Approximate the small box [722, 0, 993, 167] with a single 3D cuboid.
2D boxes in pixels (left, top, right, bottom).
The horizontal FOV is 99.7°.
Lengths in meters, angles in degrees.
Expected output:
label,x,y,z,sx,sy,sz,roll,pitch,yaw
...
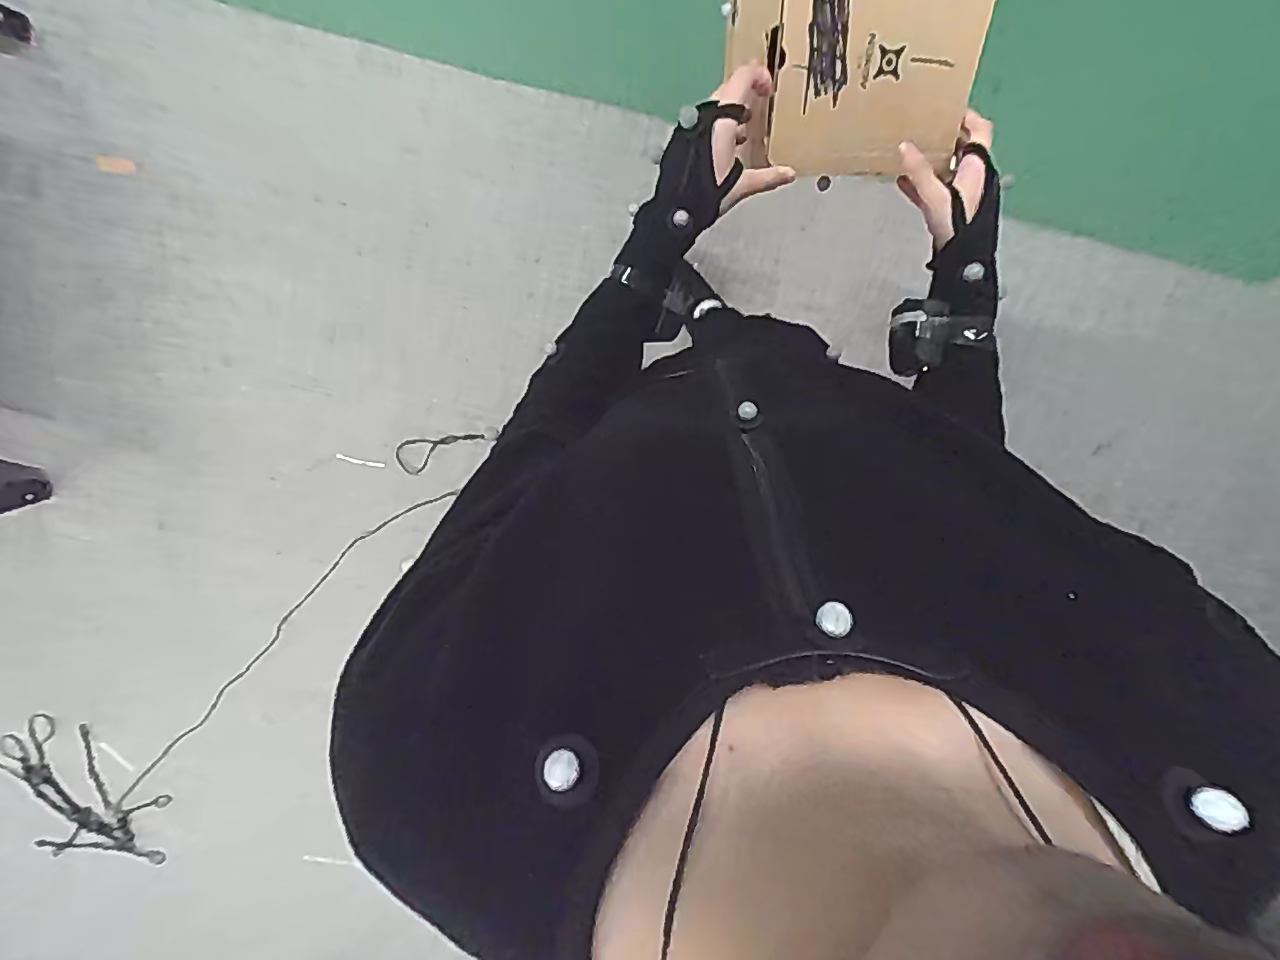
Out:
label,x,y,z,sx,sy,sz,roll,pitch,yaw
small box,0.181,-0.385,0.498,0.179,0.176,0.168,-4,122,-6
